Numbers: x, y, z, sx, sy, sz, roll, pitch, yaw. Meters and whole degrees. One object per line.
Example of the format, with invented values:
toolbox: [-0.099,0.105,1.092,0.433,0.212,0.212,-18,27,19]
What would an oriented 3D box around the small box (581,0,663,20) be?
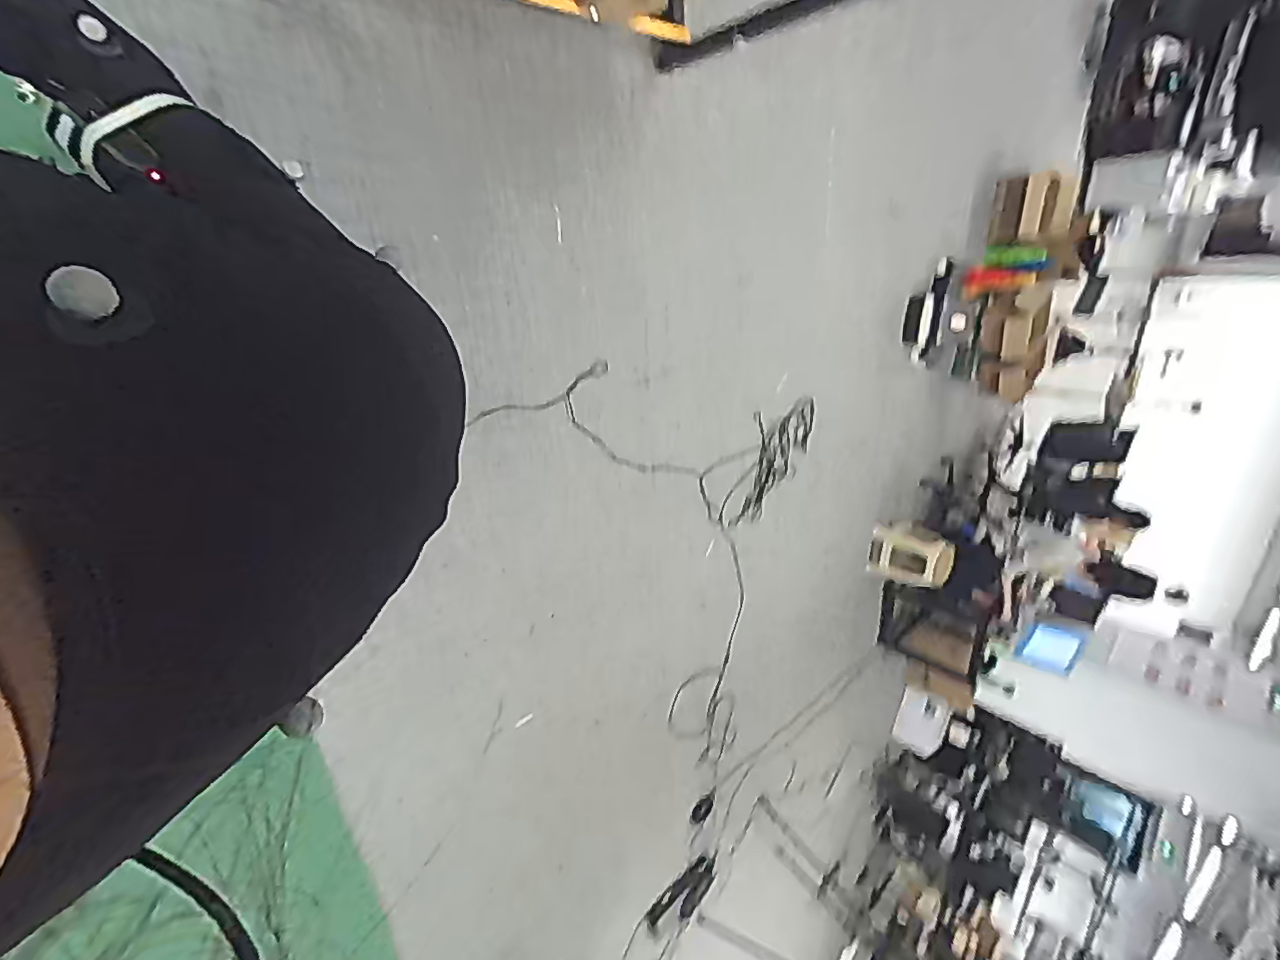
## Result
small box: [-0.054,-1.301,1.356,0.168,0.176,0.179,-19,118,-39]
